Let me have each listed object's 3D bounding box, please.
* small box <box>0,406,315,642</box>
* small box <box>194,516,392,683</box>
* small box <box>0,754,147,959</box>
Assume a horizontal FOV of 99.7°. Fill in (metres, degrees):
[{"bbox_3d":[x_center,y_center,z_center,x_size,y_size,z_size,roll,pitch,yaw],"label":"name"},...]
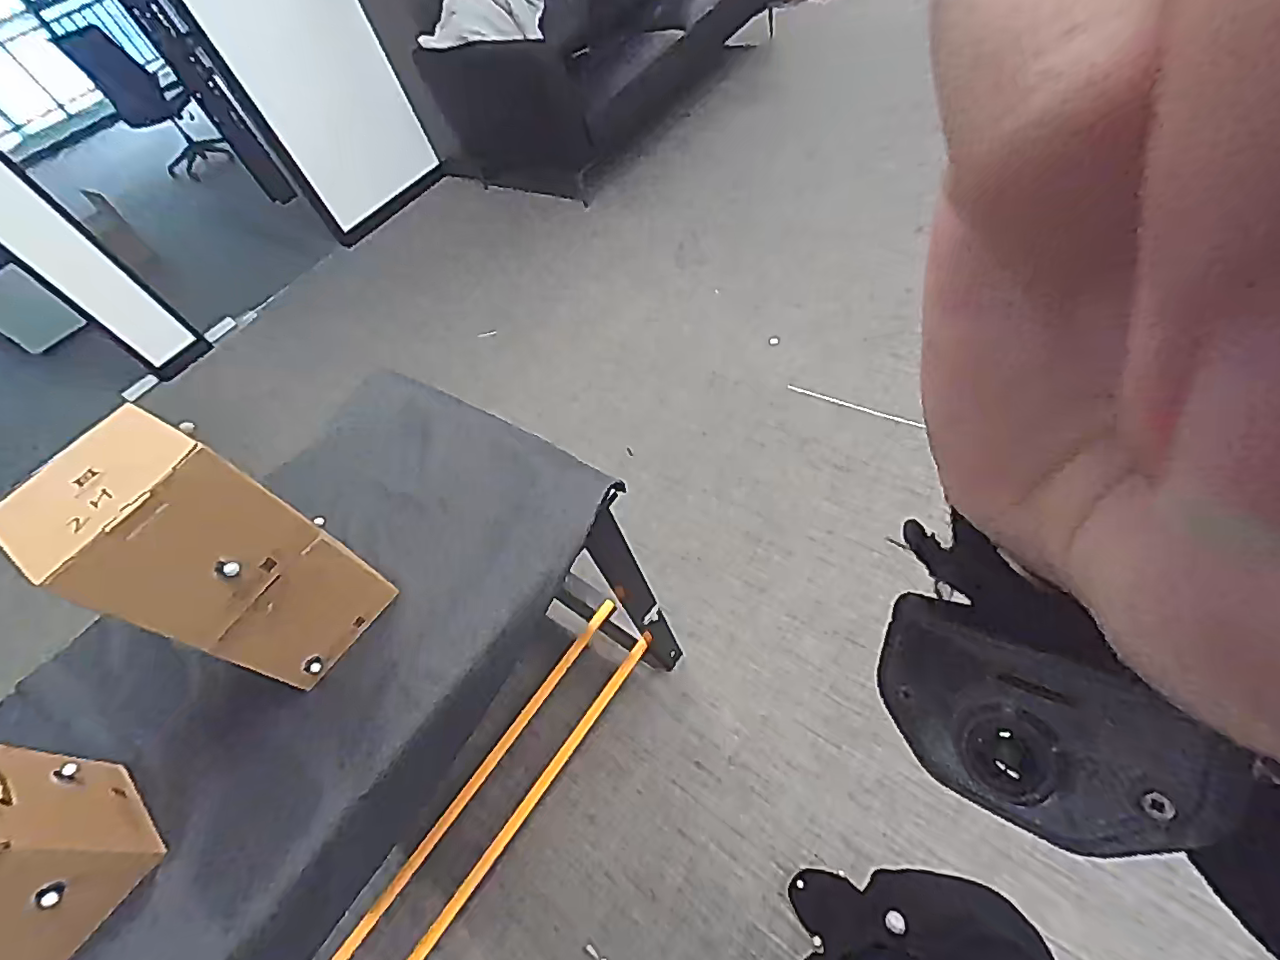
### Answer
[{"bbox_3d":[-0.509,0.050,0.587,0.179,0.176,0.168,19,62,27],"label":"small box"},{"bbox_3d":[-0.473,0.144,0.717,0.179,0.176,0.168,24,63,30],"label":"small box"},{"bbox_3d":[-0.677,0.419,0.567,0.168,0.176,0.179,24,64,31],"label":"small box"}]
